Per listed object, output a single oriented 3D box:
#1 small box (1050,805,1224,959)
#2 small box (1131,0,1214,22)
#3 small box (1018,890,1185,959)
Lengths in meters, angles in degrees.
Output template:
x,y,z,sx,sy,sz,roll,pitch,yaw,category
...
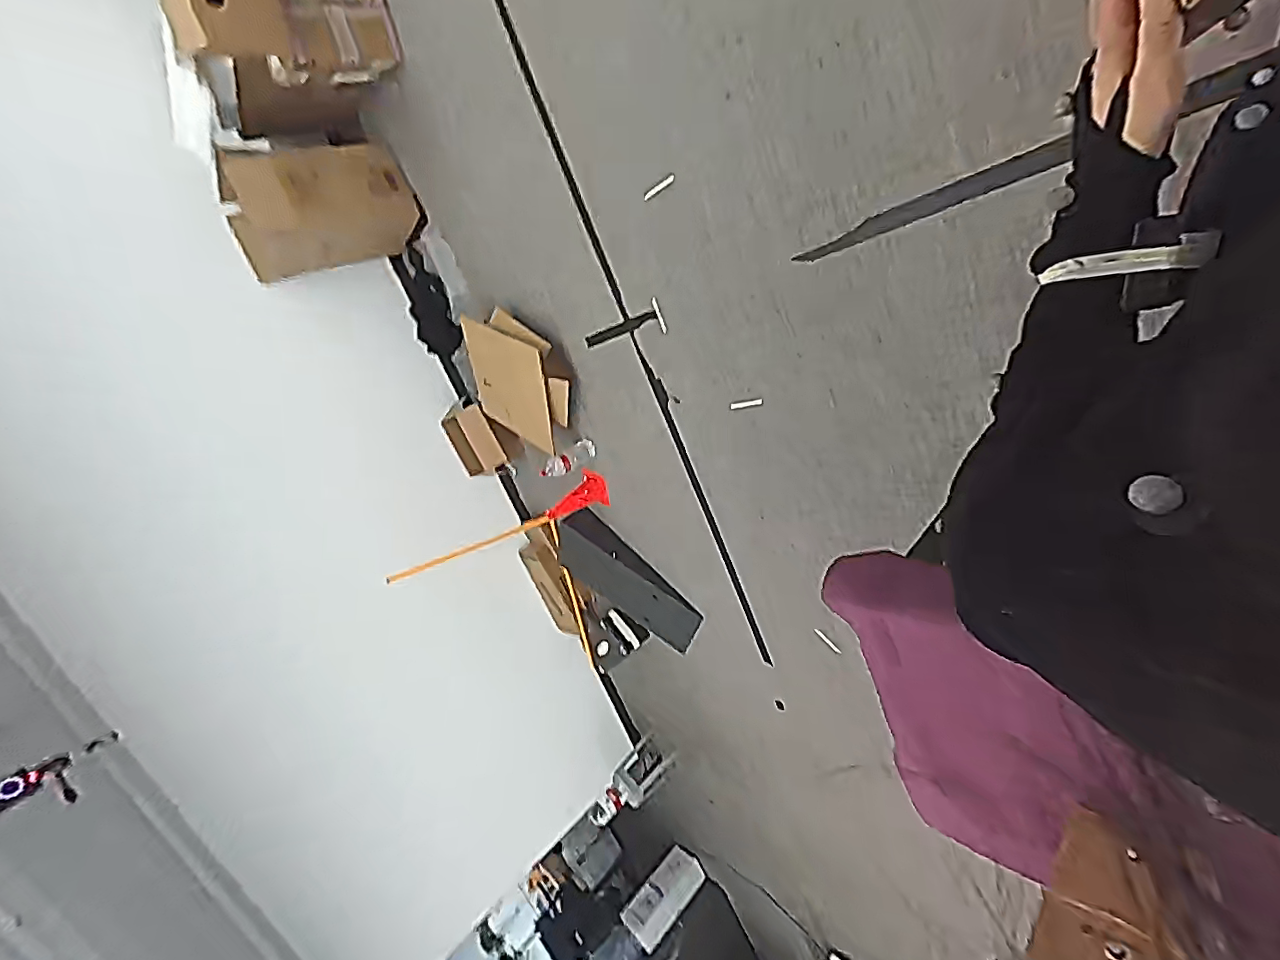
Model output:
x,y,z,sx,sy,sz,roll,pitch,yaw,category
0.762,0.655,0.827,0.168,0.176,0.179,-2,115,52,small box
0.350,-0.402,0.295,0.168,0.176,0.179,-30,90,45,small box
0.647,0.733,0.744,0.168,0.176,0.179,-6,111,53,small box
